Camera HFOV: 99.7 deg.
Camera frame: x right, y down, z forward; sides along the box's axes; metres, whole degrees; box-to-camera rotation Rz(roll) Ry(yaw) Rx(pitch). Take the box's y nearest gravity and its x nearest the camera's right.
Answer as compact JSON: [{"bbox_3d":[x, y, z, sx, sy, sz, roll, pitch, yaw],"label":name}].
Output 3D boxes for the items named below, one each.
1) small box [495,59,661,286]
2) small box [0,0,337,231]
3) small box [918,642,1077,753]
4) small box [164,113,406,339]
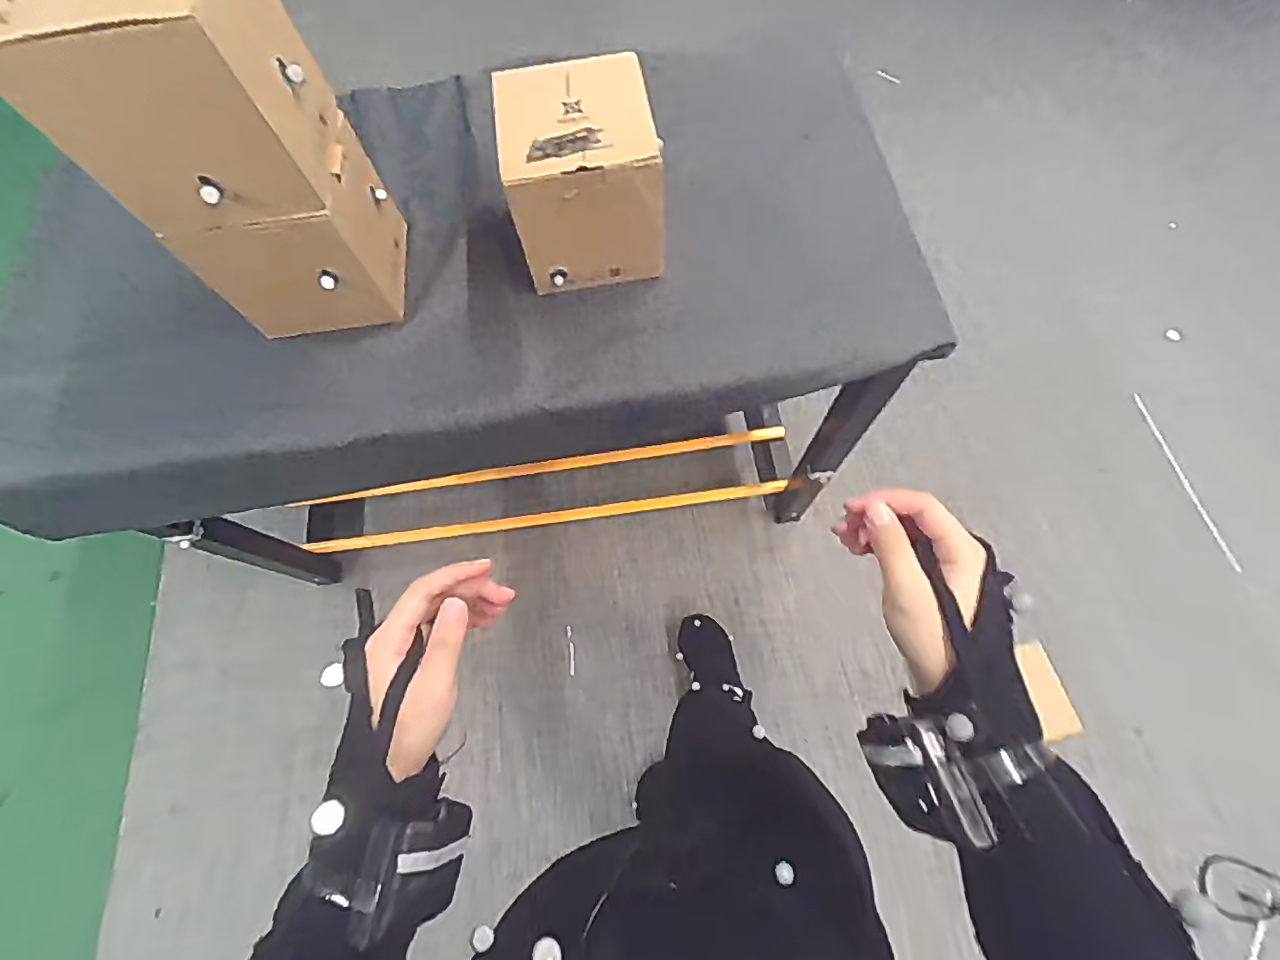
[{"bbox_3d":[-0.068,-0.357,0.657,0.168,0.176,0.179,-9,67,-1],"label":"small box"},{"bbox_3d":[-0.408,-0.361,0.497,0.179,0.176,0.168,-9,67,-2],"label":"small box"},{"bbox_3d":[0.704,0.433,1.089,0.179,0.176,0.168,-14,68,-3],"label":"small box"},{"bbox_3d":[-0.399,-0.293,0.647,0.179,0.176,0.168,-9,67,0],"label":"small box"}]
